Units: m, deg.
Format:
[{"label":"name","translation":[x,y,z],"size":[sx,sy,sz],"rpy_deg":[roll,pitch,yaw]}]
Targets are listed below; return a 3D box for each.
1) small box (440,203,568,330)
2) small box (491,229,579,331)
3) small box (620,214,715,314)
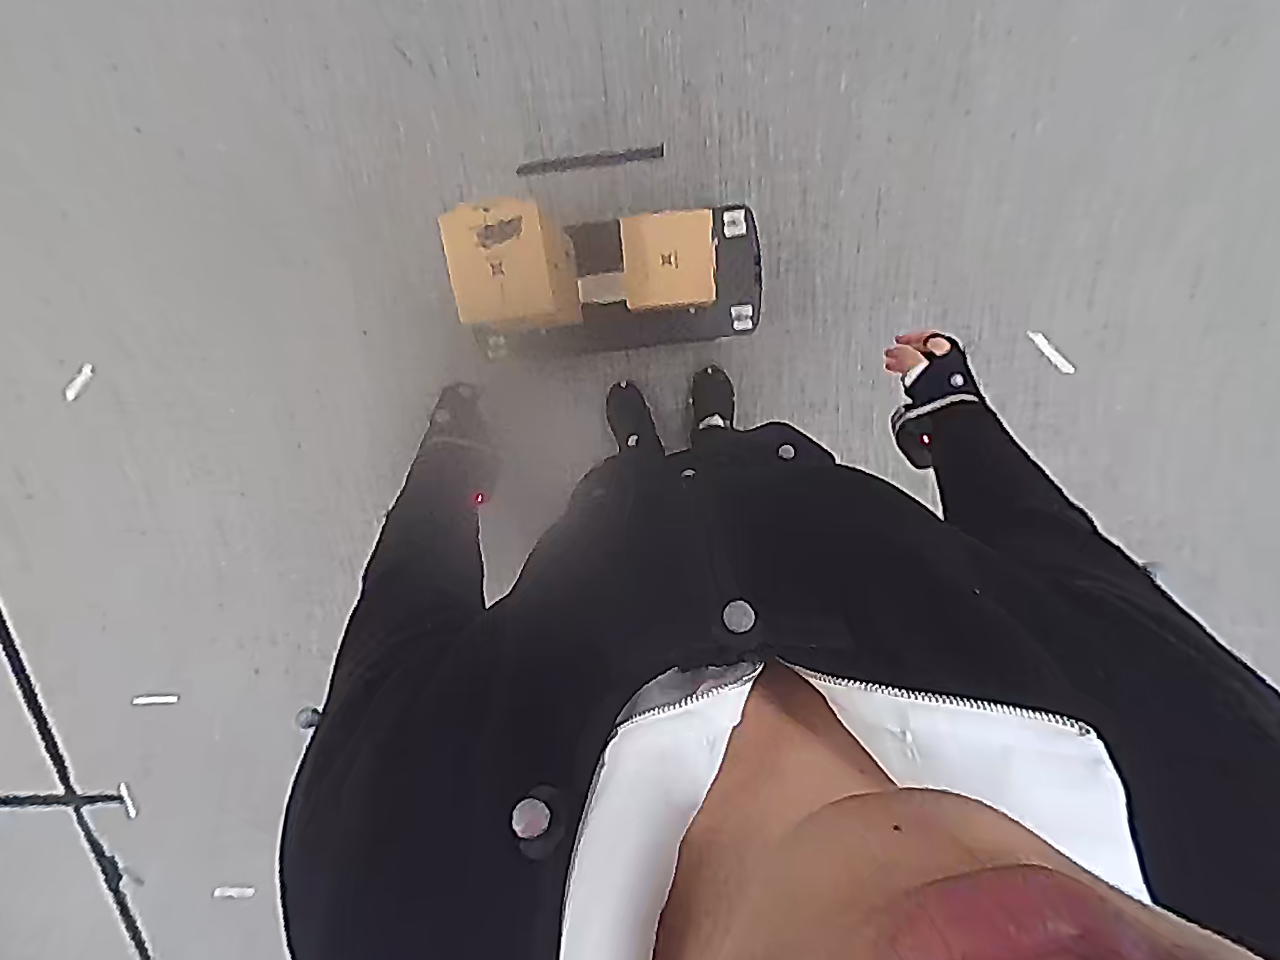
[{"label":"small box","translation":[-0.231,-0.370,0.965],"size":[0.168,0.176,0.179],"rpy_deg":[-7,104,4]},{"label":"small box","translation":[-0.223,-0.405,1.125],"size":[0.168,0.176,0.179],"rpy_deg":[-5,104,4]},{"label":"small box","translation":[0.057,-0.435,1.110],"size":[0.179,0.176,0.168],"rpy_deg":[-4,104,5]}]
